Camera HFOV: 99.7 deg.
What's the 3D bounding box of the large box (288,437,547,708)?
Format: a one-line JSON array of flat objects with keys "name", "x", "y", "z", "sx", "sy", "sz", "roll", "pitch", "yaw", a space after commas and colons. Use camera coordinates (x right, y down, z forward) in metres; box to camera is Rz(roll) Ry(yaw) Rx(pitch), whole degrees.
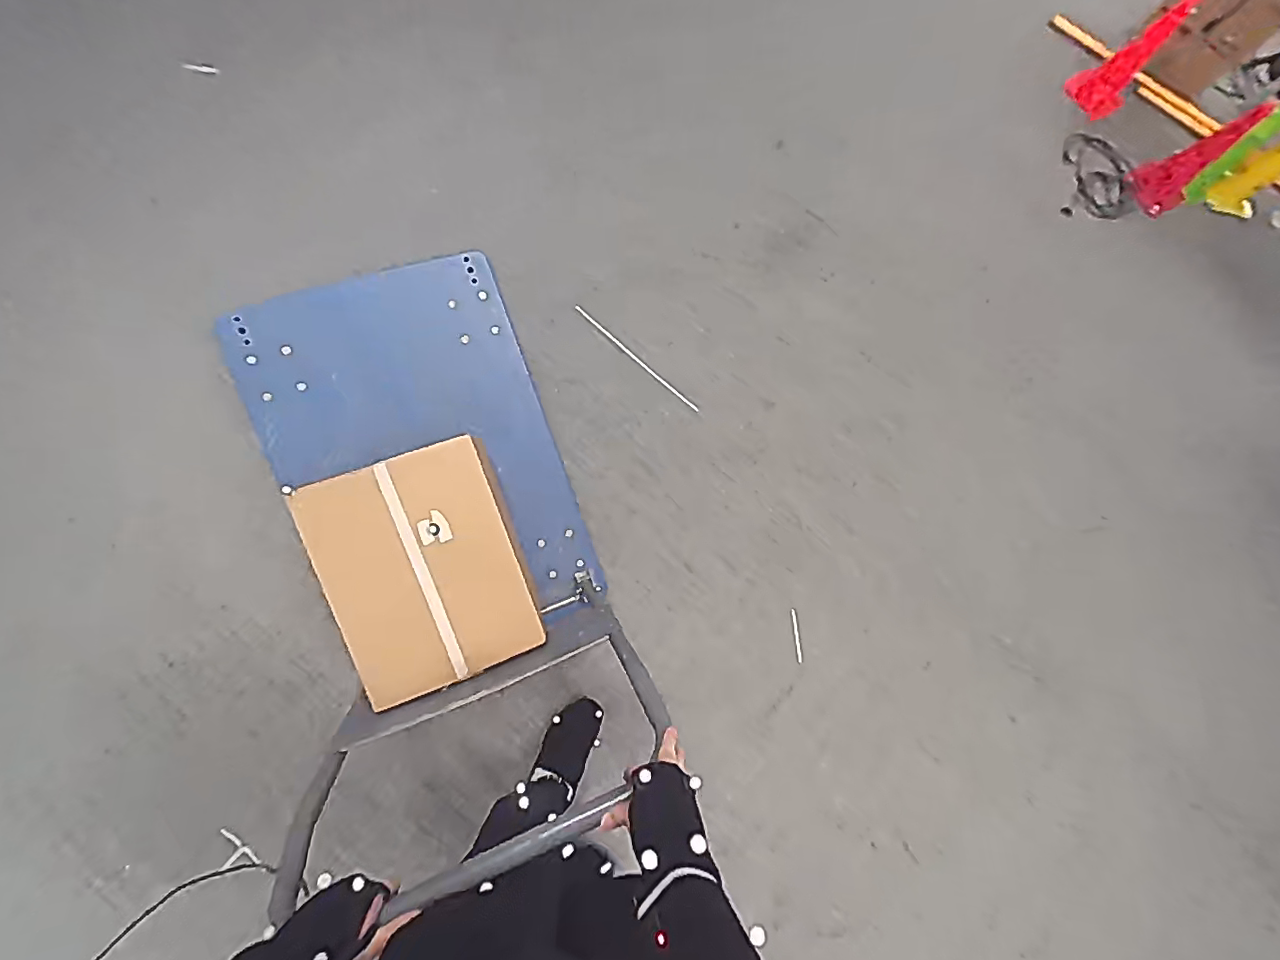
[{"name": "large box", "x": -0.407, "y": 0.156, "z": 1.086, "sx": 0.320, "sy": 0.320, "sz": 0.408, "roll": -21, "pitch": 96, "yaw": -12}]
